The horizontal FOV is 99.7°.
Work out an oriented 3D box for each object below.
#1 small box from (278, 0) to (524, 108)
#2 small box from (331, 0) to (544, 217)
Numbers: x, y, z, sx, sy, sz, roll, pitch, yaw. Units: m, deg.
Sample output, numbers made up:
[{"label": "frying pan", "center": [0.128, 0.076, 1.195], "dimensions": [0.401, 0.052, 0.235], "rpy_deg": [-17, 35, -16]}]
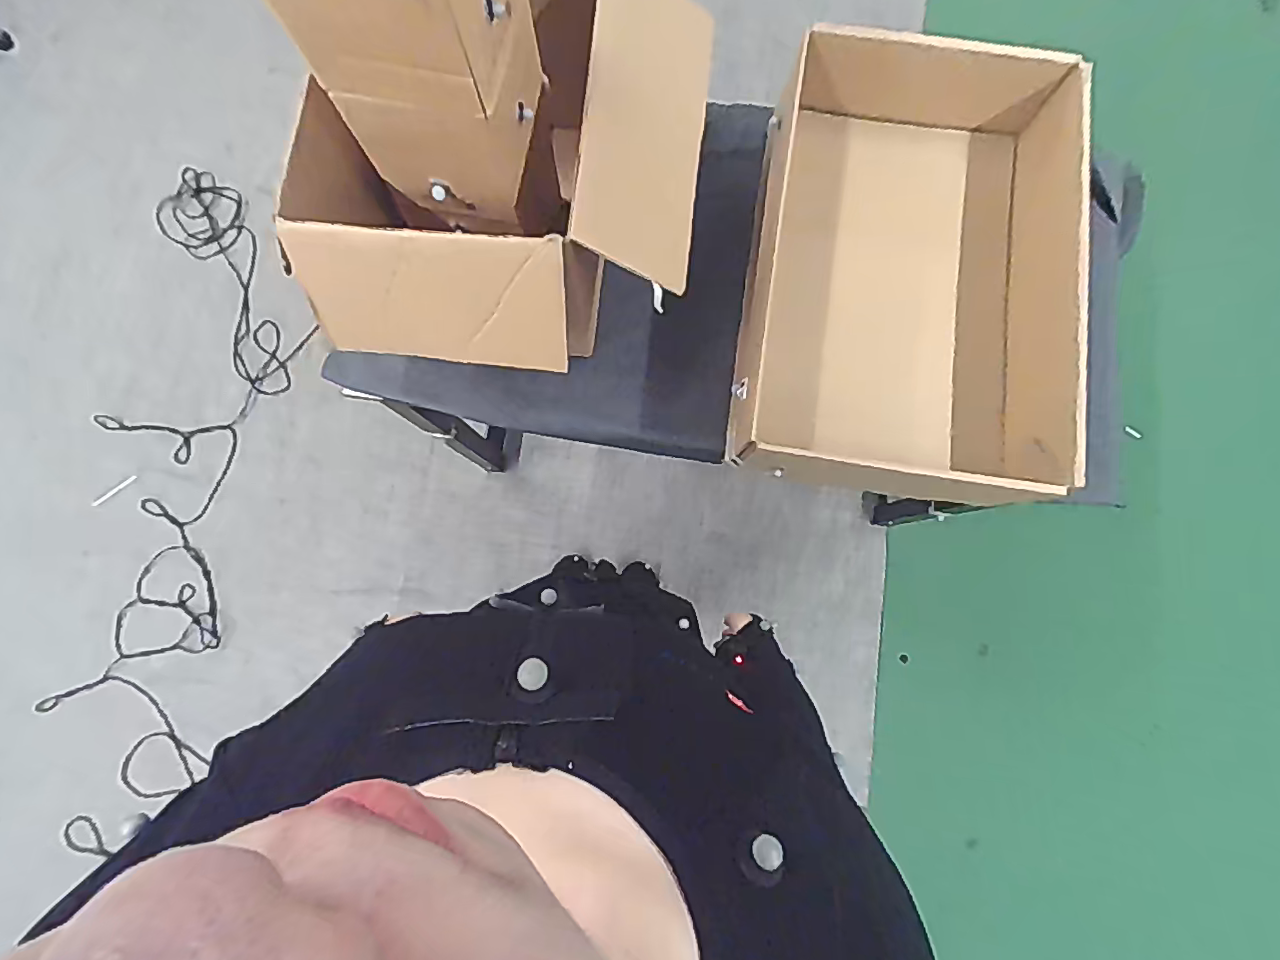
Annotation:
[{"label": "small box", "center": [-0.216, -0.468, 0.469], "dimensions": [0.179, 0.176, 0.168], "rpy_deg": [11, 81, 0]}, {"label": "small box", "center": [-0.216, -0.446, 0.629], "dimensions": [0.168, 0.176, 0.179], "rpy_deg": [10, 83, 1]}]
